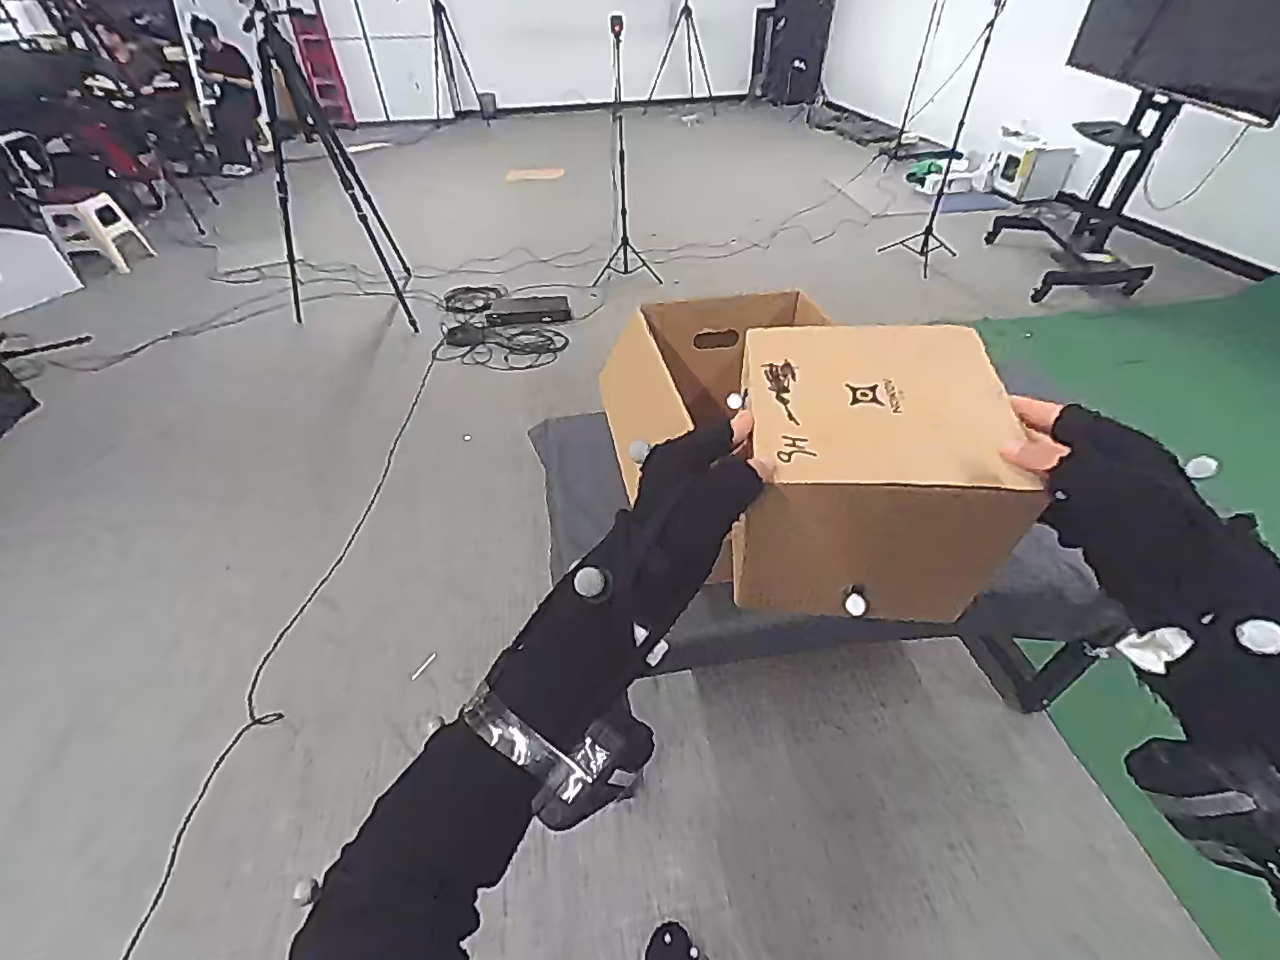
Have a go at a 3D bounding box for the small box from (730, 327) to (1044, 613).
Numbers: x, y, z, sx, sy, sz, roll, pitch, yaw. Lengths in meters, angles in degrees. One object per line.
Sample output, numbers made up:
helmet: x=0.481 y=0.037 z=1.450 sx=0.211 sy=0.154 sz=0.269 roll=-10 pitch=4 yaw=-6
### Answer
small box: x=0.169 y=-0.004 z=0.442 sx=0.179 sy=0.176 sz=0.168 roll=2 pitch=49 yaw=6
